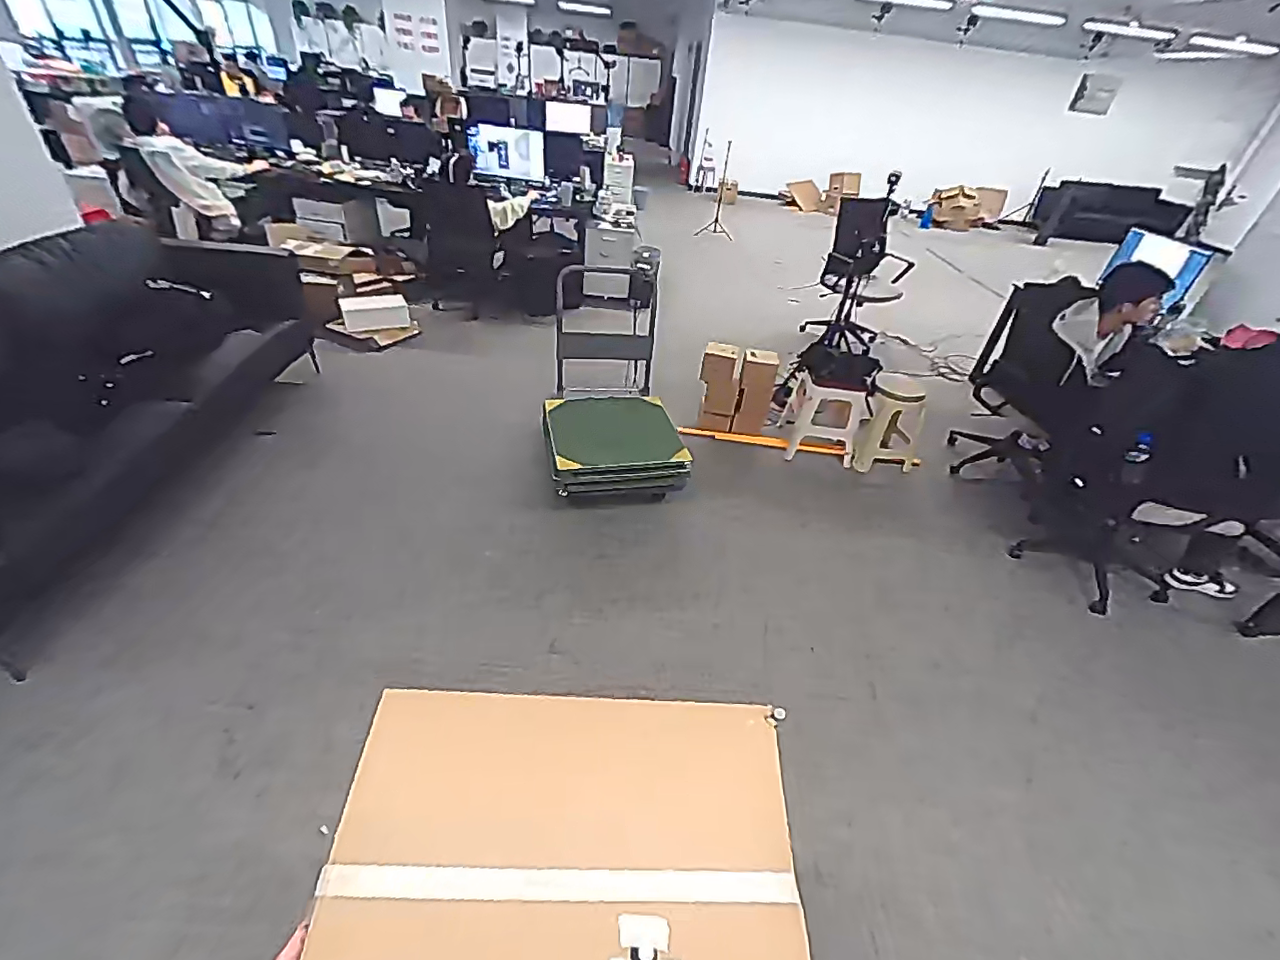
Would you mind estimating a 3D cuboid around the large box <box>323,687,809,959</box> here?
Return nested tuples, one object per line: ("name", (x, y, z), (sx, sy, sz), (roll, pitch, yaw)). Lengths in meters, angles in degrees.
("large box", (-0.070, 0.438, 0.593), (0.408, 0.320, 0.320), (4, 51, -4))
